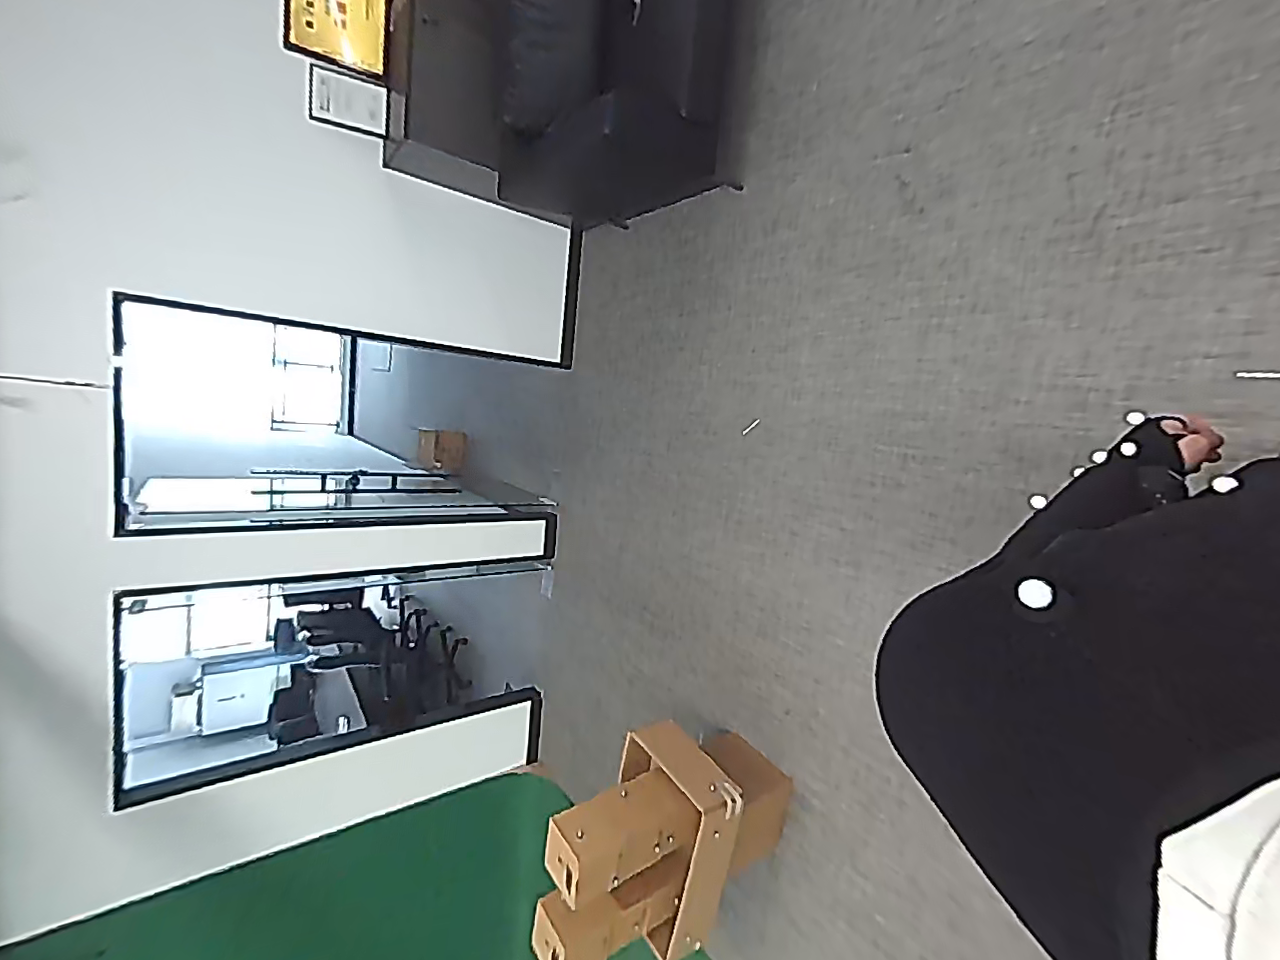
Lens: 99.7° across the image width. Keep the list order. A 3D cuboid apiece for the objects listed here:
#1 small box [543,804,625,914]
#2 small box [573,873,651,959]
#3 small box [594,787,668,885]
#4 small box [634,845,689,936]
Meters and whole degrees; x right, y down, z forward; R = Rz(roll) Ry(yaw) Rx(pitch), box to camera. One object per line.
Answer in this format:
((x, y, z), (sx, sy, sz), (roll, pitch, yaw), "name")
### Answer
((-0.164, 1.096, 1.581), (0.179, 0.176, 0.168), (22, 107, 50), "small box")
((-0.090, 1.380, 1.750), (0.179, 0.176, 0.168), (26, 109, 48), "small box")
((-0.039, 1.094, 1.687), (0.179, 0.176, 0.168), (22, 107, 49), "small box")
((0.038, 1.382, 1.847), (0.179, 0.176, 0.168), (26, 110, 49), "small box")
